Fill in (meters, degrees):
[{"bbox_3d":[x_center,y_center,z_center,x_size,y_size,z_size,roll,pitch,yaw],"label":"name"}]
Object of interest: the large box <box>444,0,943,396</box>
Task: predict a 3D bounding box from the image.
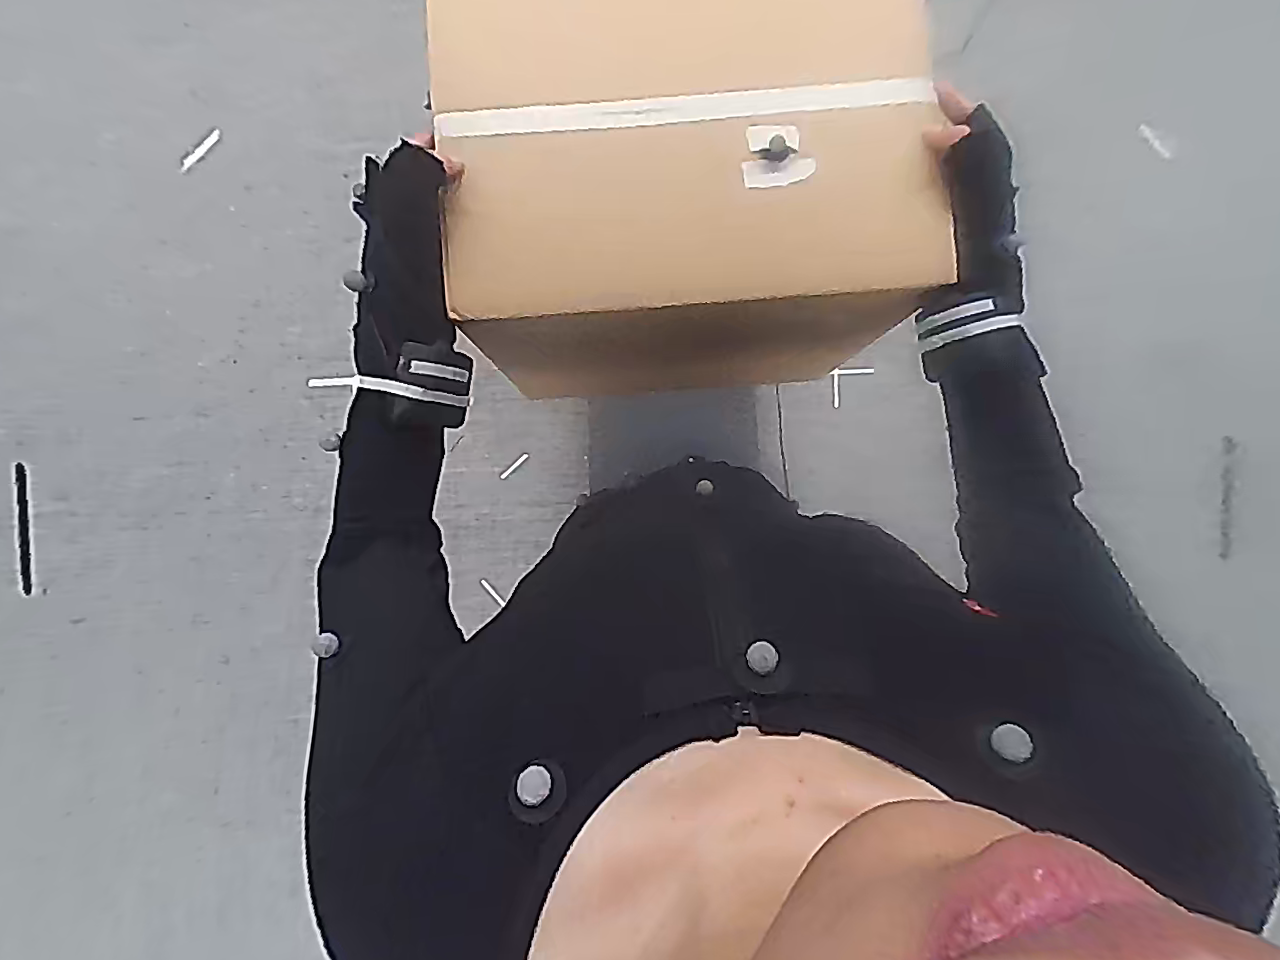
[{"bbox_3d":[0.038,-0.291,0.601,0.408,0.320,0.320,-4,87,-1],"label":"large box"}]
